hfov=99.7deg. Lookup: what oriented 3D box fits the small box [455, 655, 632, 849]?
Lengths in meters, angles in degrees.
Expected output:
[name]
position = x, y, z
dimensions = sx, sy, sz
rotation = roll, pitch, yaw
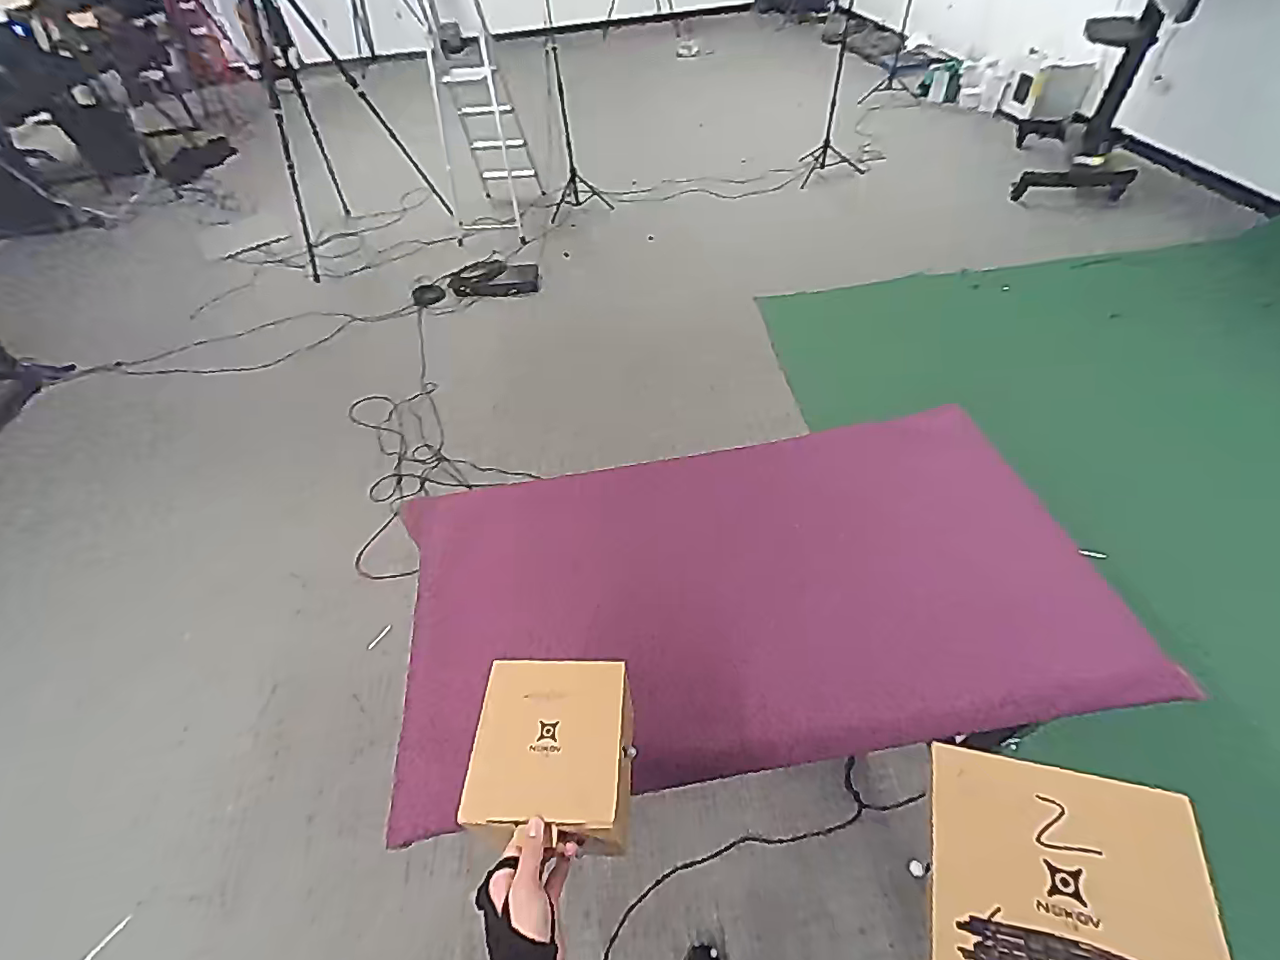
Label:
[small box]
position = -0.101, 0.336, 0.666
dimensions = 0.168, 0.176, 0.179
rotation = 0, 46, 5
